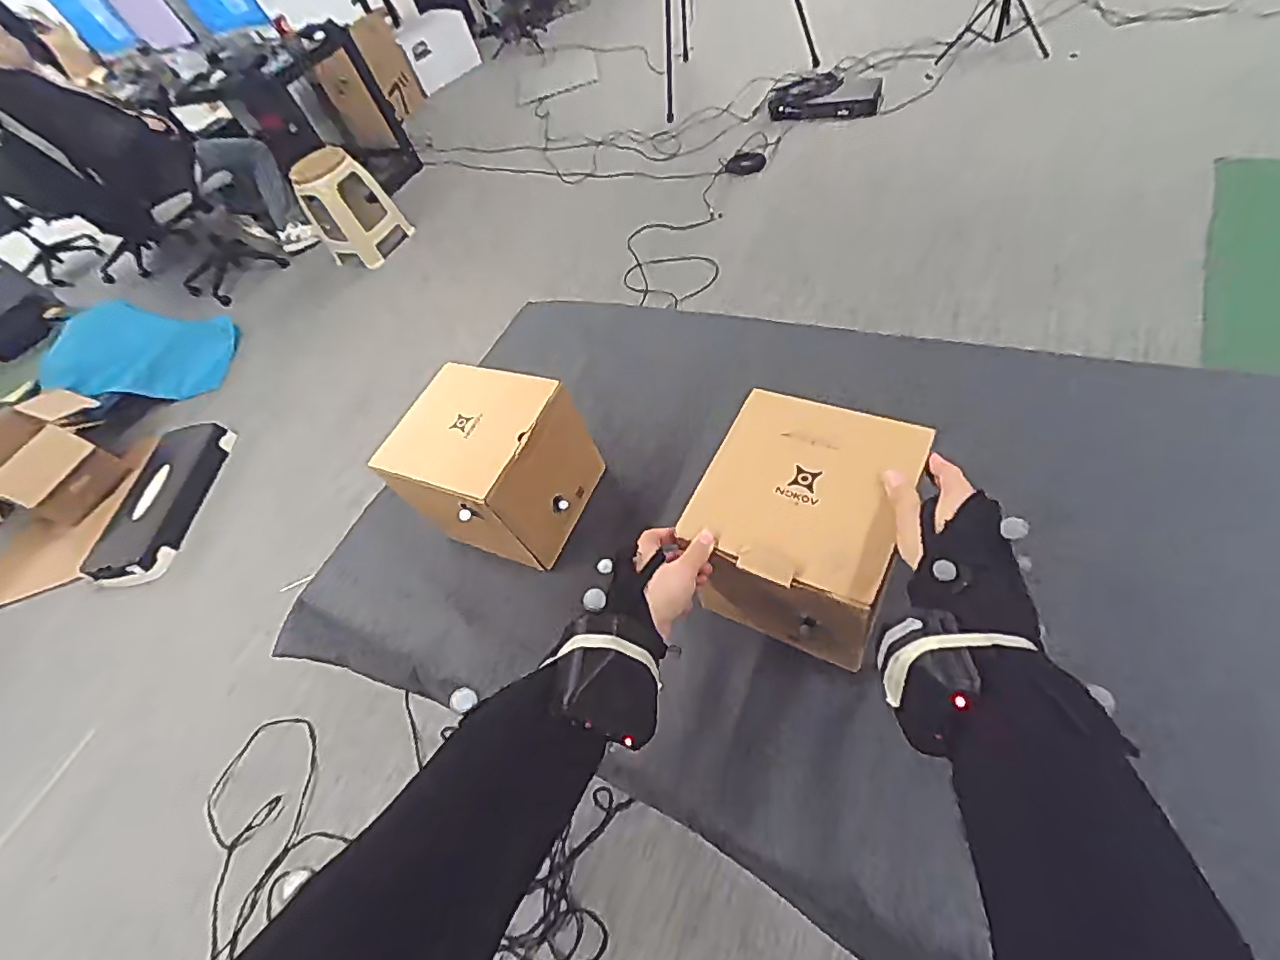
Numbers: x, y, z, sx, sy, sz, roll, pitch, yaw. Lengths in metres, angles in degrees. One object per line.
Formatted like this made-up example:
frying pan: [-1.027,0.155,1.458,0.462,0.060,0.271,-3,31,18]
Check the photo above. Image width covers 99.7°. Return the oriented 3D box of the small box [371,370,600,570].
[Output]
small box: [-0.176,-0.010,0.666,0.179,0.176,0.168,14,60,24]
